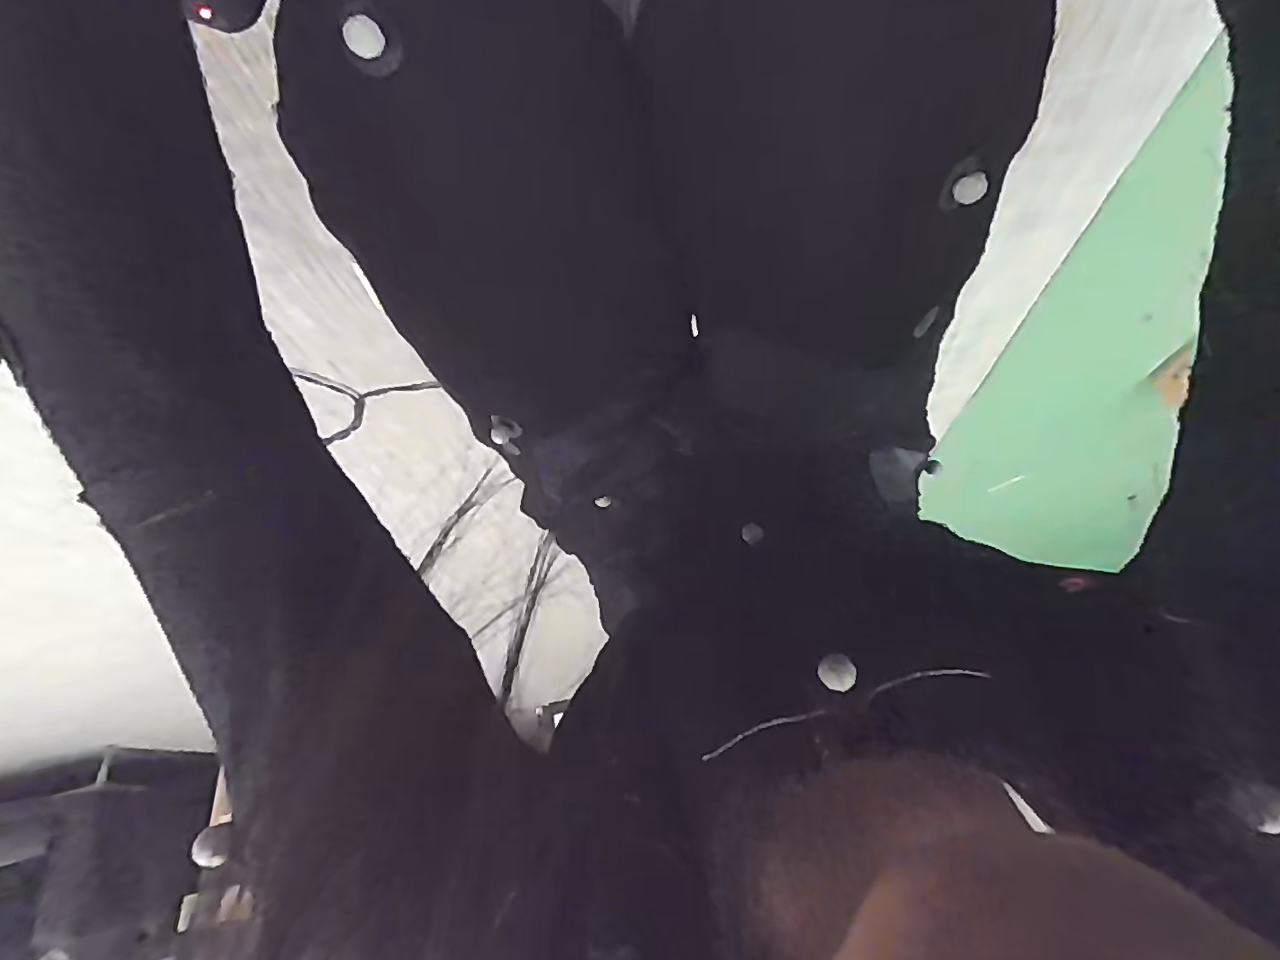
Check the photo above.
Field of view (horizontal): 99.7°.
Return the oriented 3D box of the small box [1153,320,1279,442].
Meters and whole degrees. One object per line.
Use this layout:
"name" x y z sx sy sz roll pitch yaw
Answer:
"small box" 1.246 -0.209 1.117 0.179 0.176 0.168 -14 150 4
